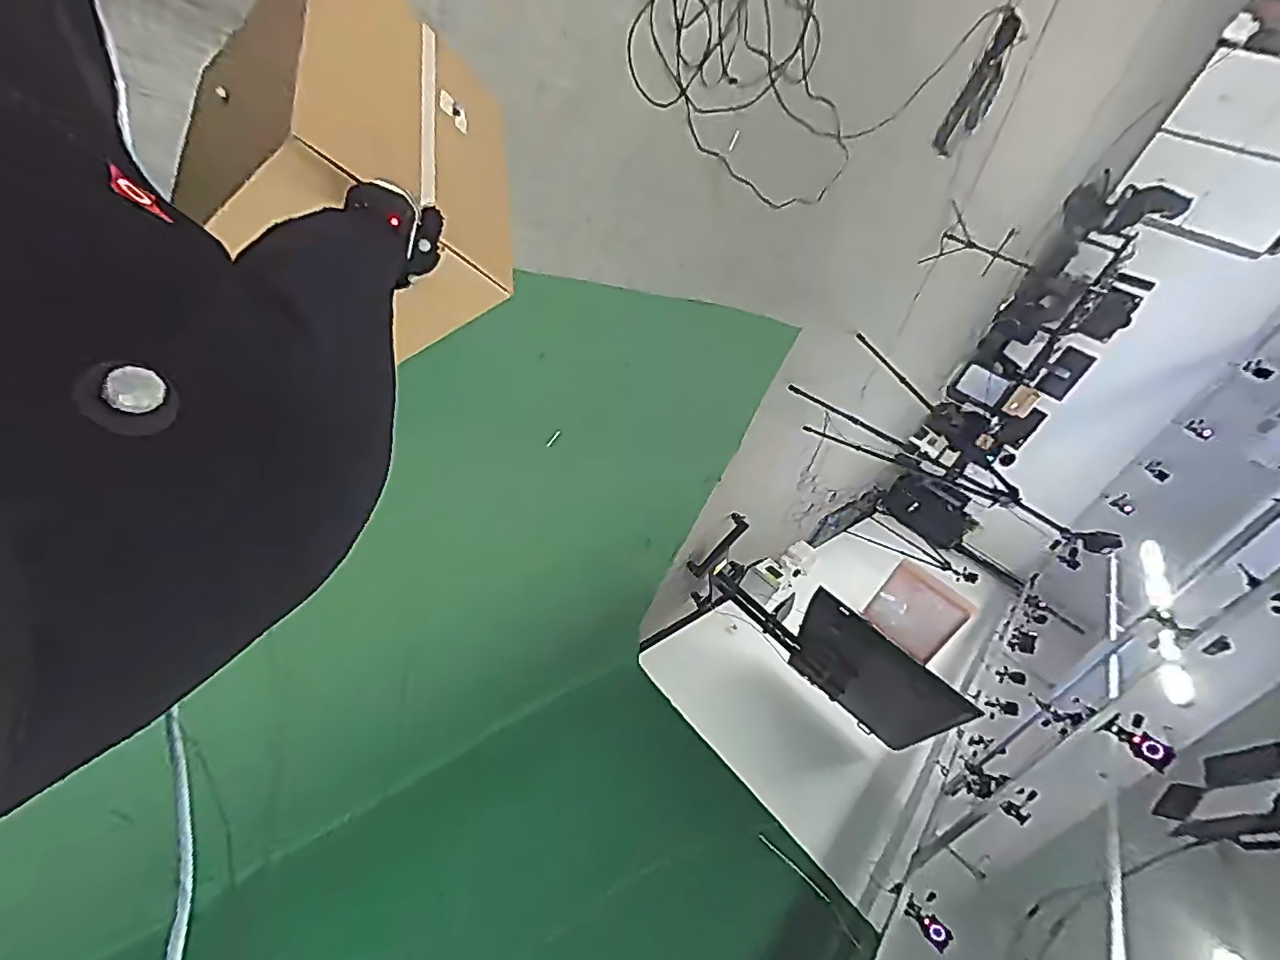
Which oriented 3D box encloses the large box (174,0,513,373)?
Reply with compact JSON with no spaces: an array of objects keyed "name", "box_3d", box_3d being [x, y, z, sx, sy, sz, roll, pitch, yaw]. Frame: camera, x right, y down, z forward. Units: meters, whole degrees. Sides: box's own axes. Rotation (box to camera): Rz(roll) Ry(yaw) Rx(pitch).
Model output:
[{"name":"large box","box_3d":[-0.423,-0.438,0.808,0.320,0.408,0.320,-20,157,26]}]
